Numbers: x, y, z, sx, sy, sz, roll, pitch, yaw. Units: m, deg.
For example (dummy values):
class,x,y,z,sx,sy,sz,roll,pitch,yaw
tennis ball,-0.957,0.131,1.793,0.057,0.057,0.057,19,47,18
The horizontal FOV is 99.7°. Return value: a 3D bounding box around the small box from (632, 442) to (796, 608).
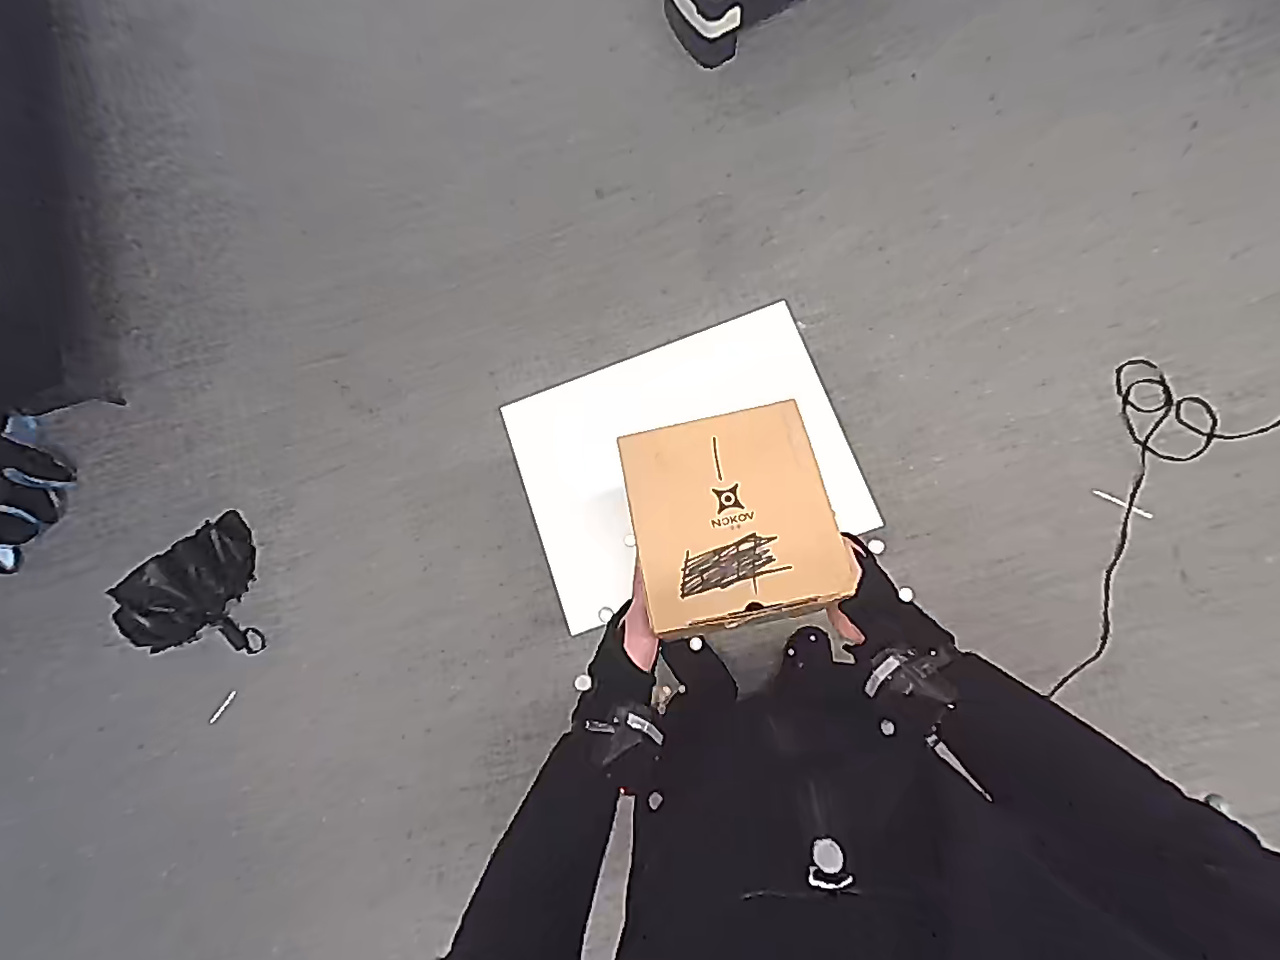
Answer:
class,x,y,z,sx,sy,sz,roll,pitch,yaw
small box,0.098,0.071,0.765,0.168,0.176,0.179,-21,77,2
